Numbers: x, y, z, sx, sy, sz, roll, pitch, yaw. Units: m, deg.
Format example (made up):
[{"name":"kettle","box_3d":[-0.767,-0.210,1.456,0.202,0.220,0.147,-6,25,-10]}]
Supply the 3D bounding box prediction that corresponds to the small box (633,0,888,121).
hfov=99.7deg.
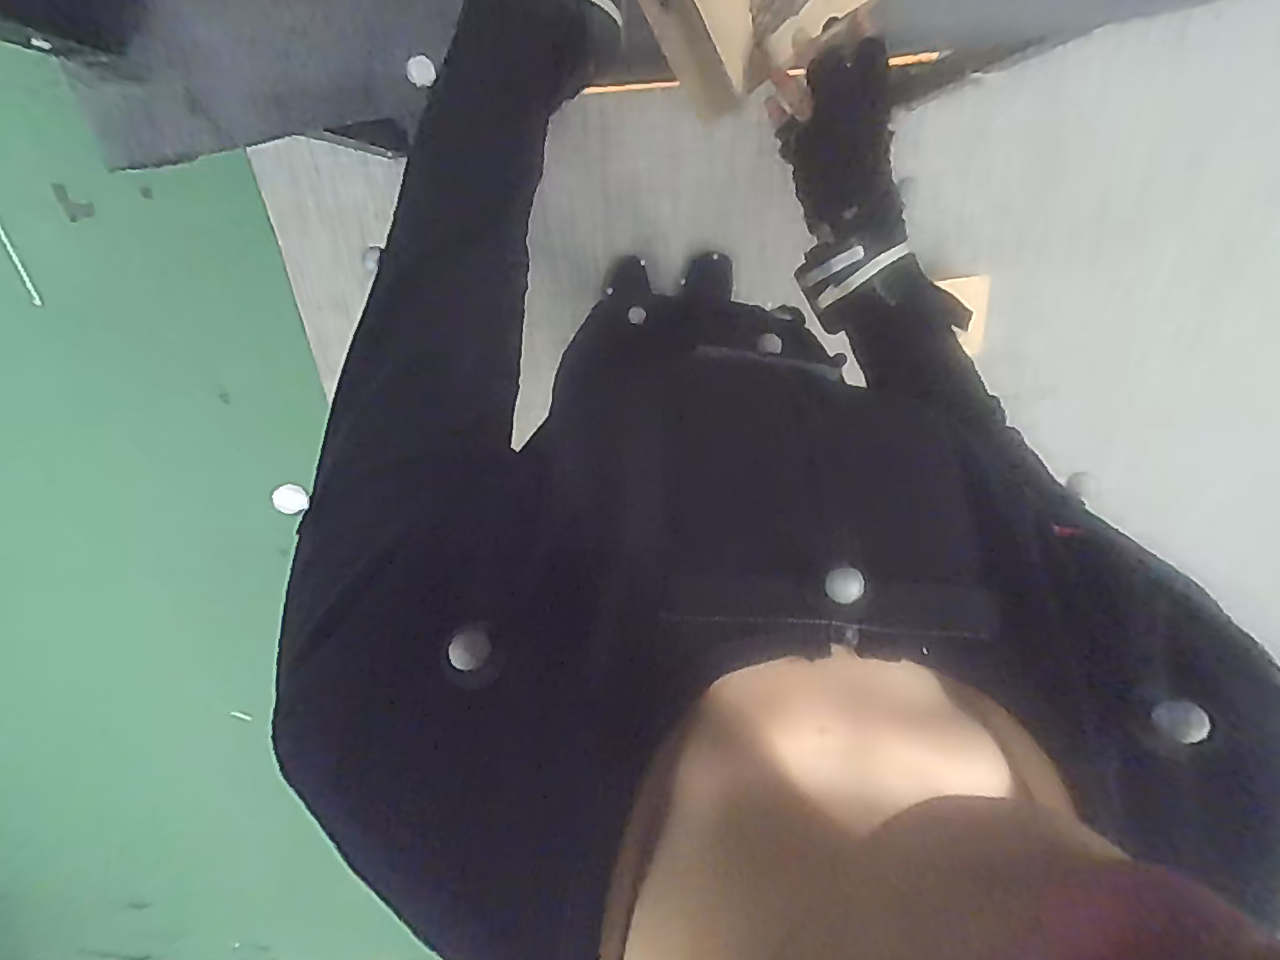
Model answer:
[{"name":"small box","box_3d":[0.090,-0.433,0.448,0.168,0.176,0.179,-31,113,11]}]
